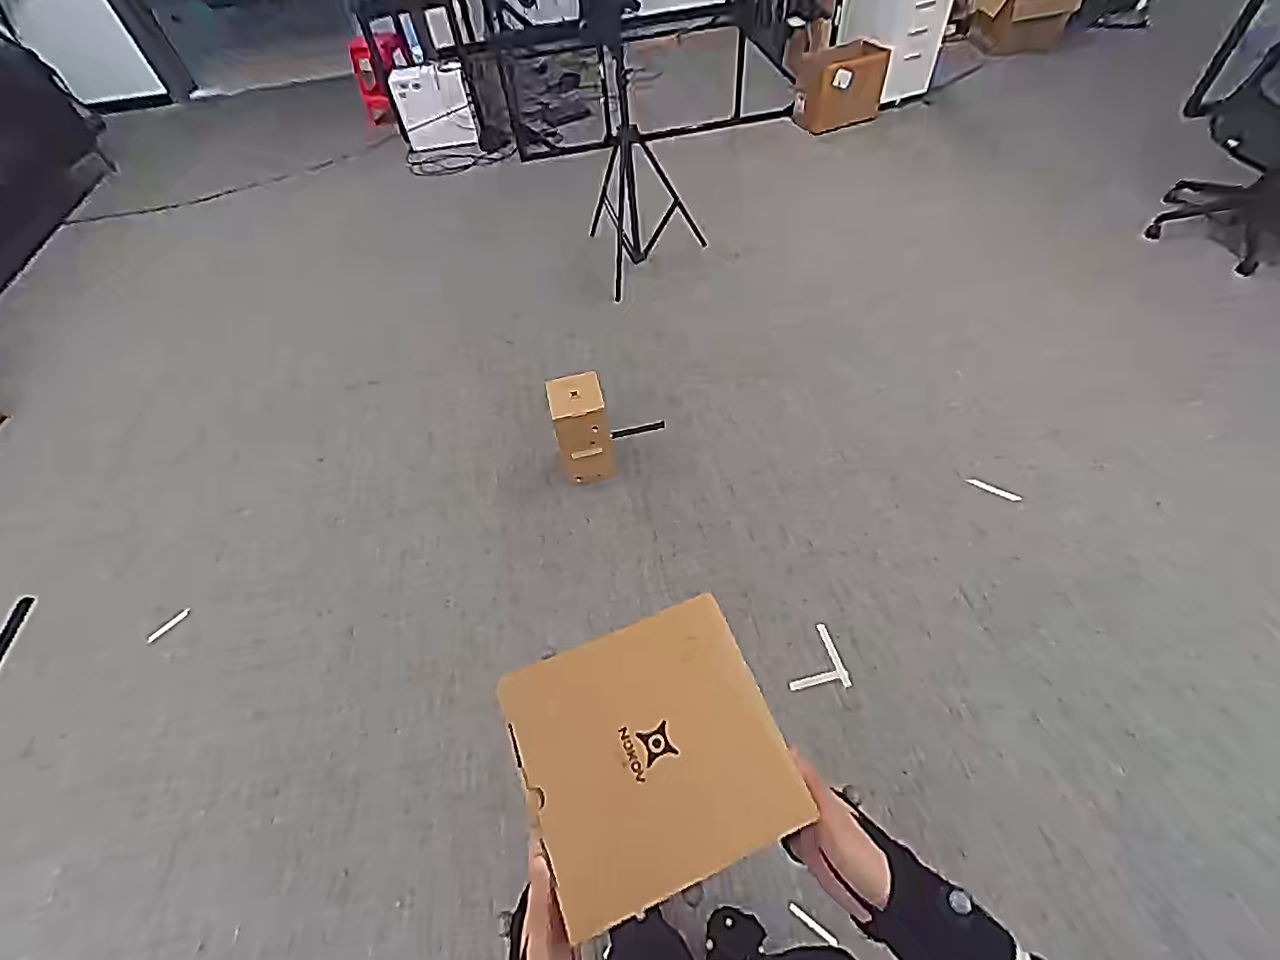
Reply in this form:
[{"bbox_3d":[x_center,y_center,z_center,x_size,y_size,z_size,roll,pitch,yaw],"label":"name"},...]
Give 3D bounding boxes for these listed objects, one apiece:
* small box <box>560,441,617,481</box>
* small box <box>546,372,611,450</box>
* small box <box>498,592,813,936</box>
[{"bbox_3d":[-0.182,-0.114,1.858,0.168,0.176,0.179,-13,53,-4],"label":"small box"},{"bbox_3d":[-0.193,-0.212,1.729,0.168,0.176,0.179,-13,53,-5],"label":"small box"},{"bbox_3d":[0.006,0.216,0.446,0.179,0.176,0.168,-21,65,-9],"label":"small box"}]
